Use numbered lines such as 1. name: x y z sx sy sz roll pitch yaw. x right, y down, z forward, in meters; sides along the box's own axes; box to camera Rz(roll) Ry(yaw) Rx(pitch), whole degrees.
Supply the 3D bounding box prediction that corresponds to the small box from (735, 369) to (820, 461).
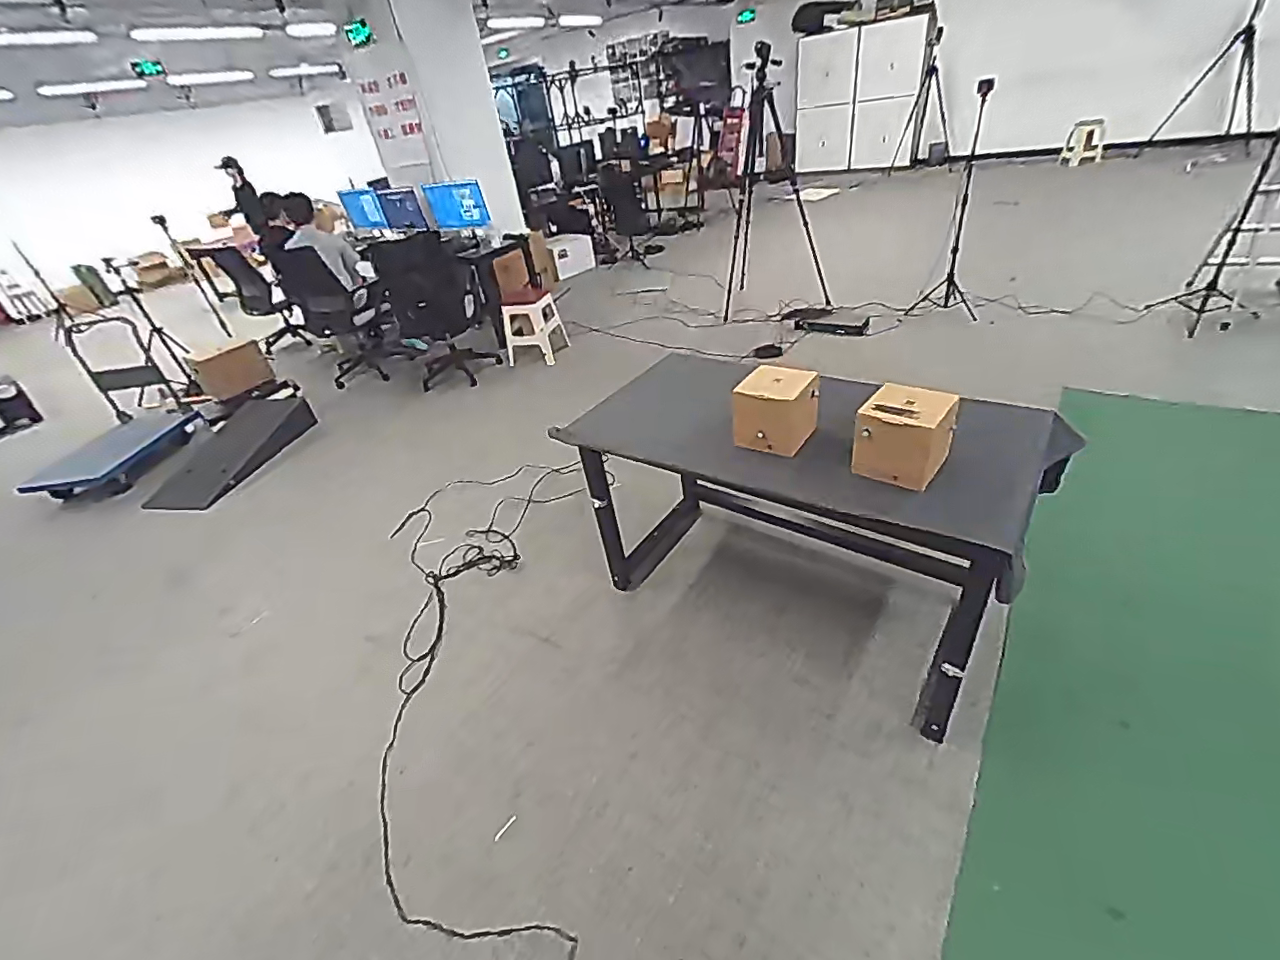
1. small box: 0.367 -0.177 1.450 0.168 0.176 0.179 16 42 33
